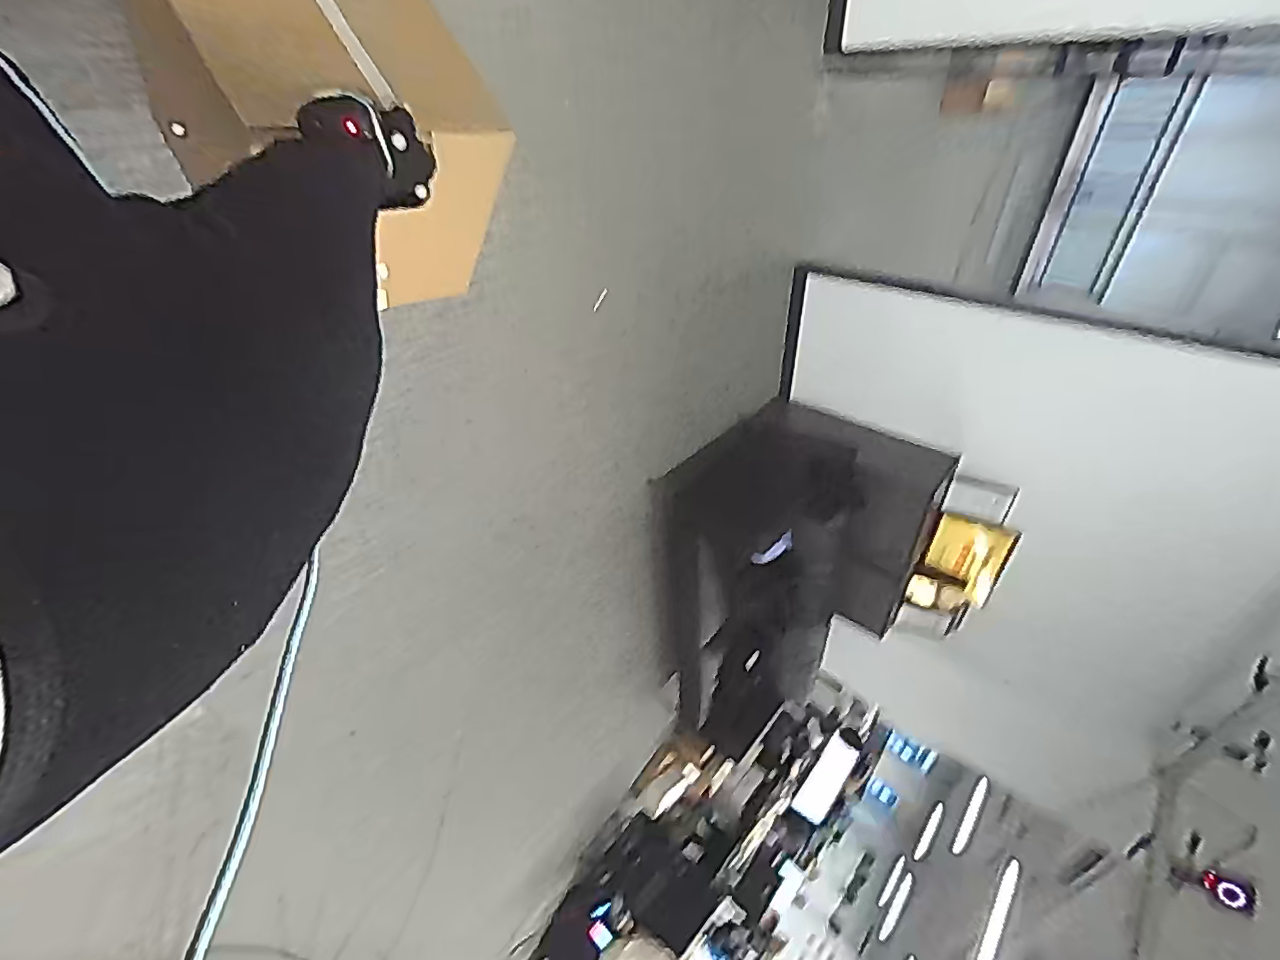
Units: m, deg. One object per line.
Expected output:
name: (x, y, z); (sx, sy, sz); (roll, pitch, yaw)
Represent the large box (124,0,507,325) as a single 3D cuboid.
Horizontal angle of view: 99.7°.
large box: (-0.456, -0.501, 0.776); (0.320, 0.408, 0.320); (-28, 170, -37)
